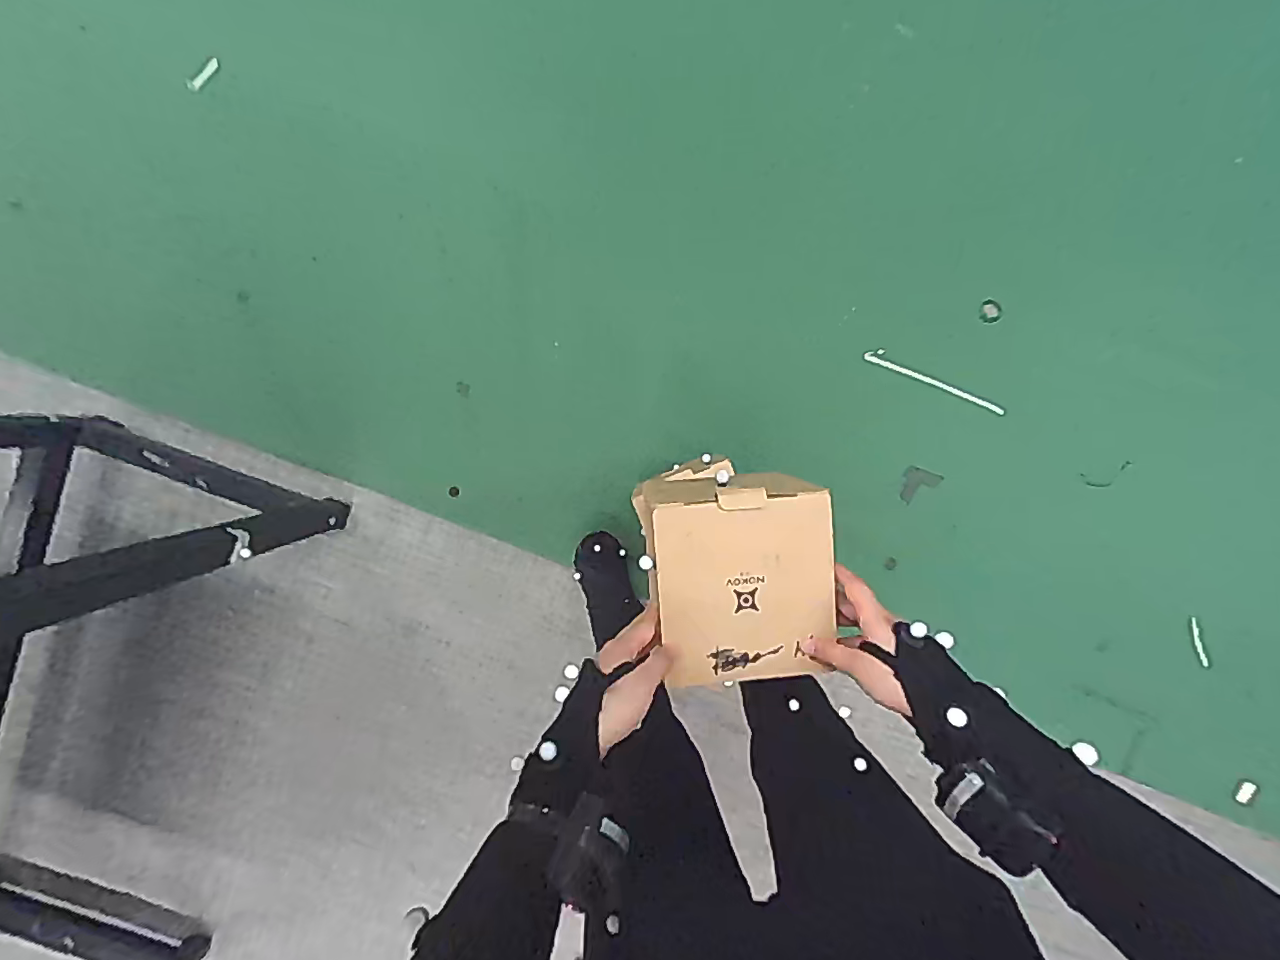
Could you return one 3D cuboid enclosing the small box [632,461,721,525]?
[{"bbox_3d":[0.095,0.075,1.079,0.168,0.176,0.179,-23,95,3],"label":"small box"}]

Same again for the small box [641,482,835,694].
[{"bbox_3d":[0.093,0.098,0.577,0.168,0.176,0.179,-5,98,-3],"label":"small box"}]
